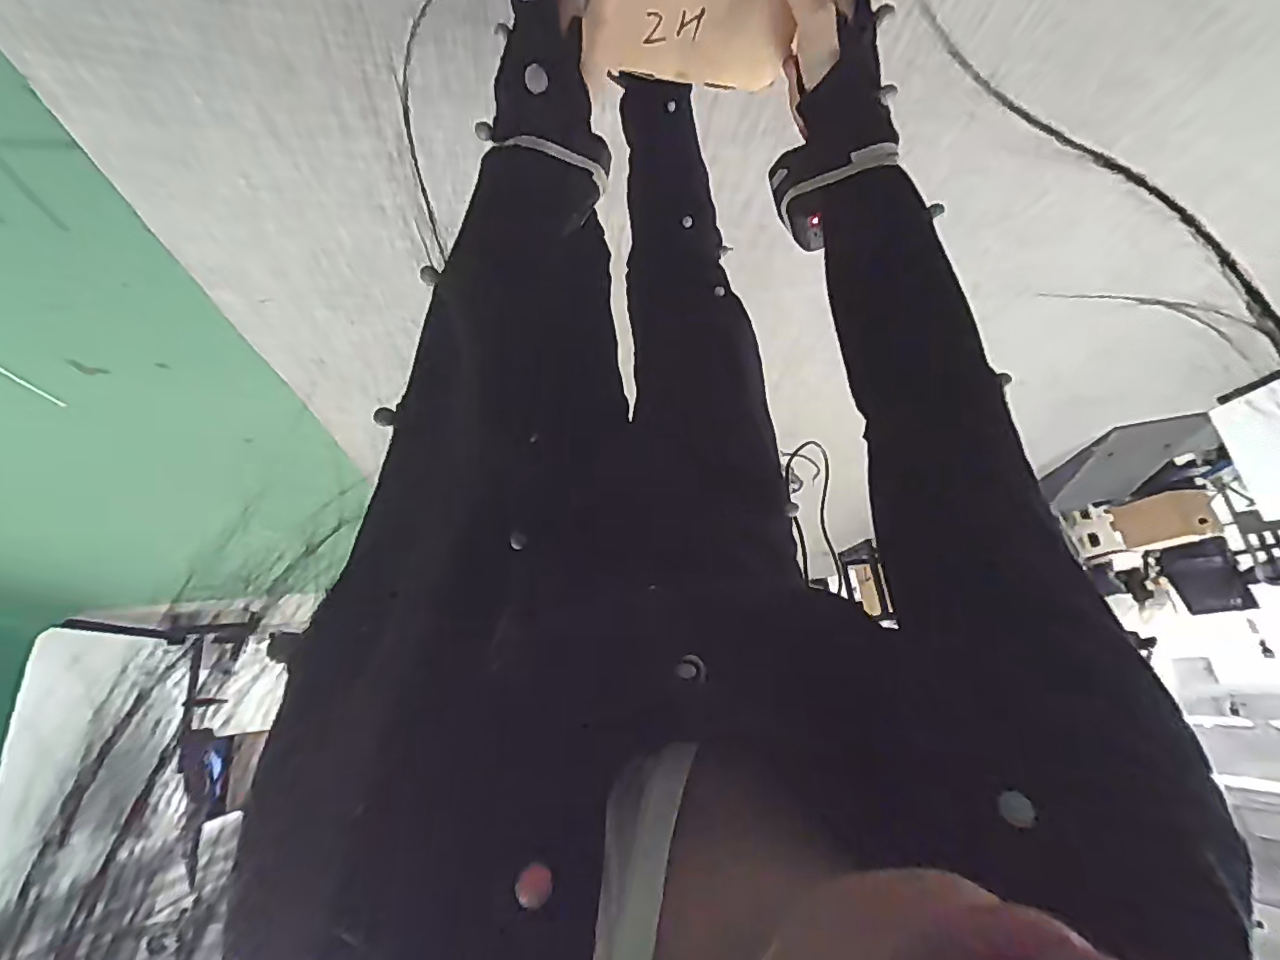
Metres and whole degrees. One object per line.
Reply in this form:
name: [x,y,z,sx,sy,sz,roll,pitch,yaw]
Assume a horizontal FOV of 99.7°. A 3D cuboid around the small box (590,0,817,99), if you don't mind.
small box: [0.050,-0.446,0.414,0.168,0.176,0.179,-1,159,-15]
